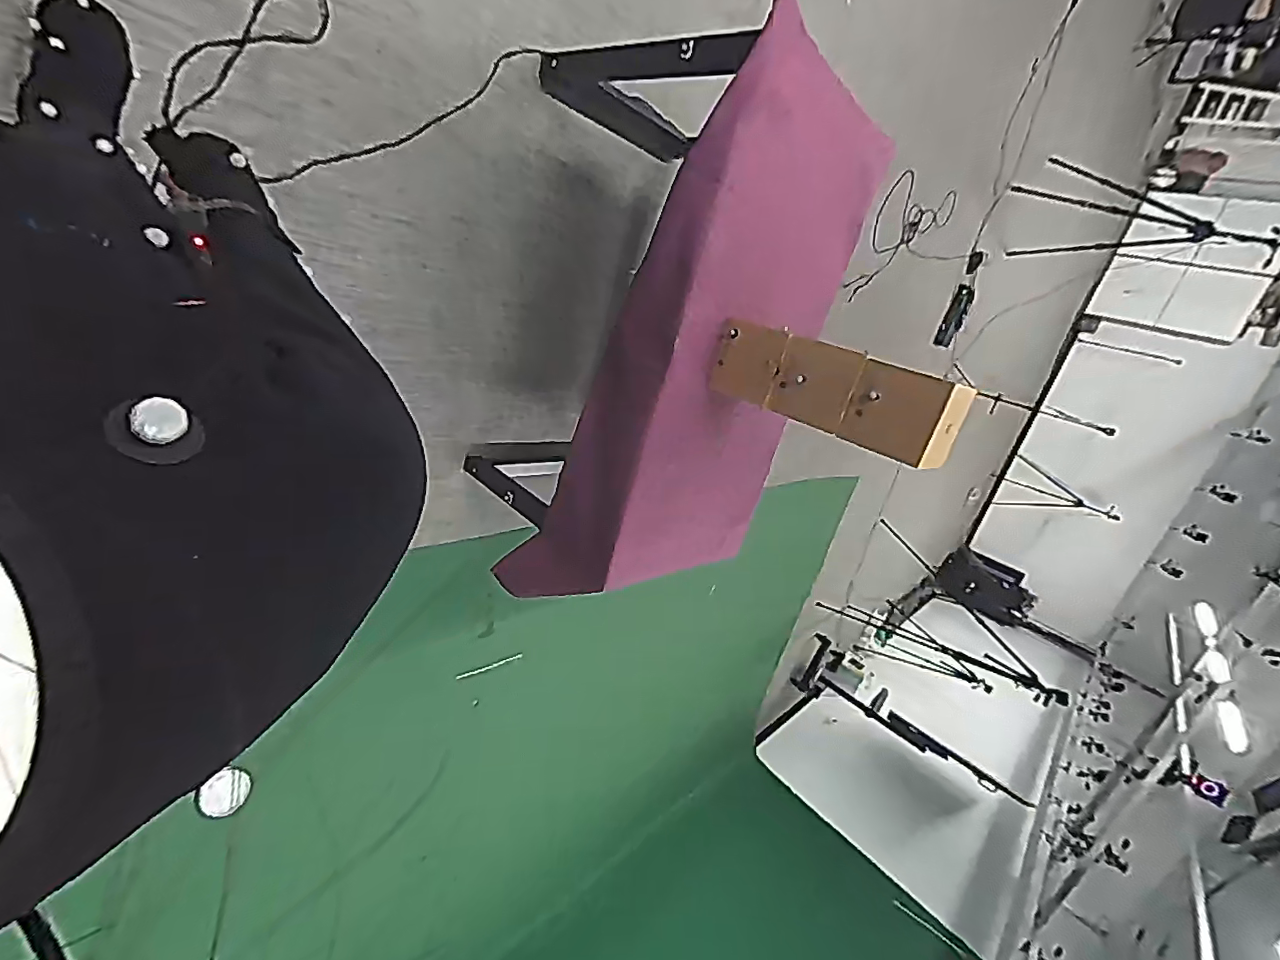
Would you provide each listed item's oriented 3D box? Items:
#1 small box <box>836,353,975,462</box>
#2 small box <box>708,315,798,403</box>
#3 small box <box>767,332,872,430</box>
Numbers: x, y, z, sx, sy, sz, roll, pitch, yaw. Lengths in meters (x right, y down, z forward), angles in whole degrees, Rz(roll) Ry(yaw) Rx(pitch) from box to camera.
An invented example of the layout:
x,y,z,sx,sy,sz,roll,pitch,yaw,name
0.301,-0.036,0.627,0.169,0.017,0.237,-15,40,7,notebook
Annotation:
x,y,z,sx,sy,sz,roll,pitch,yaw,name
0.519,-0.143,1.065,0.179,0.176,0.168,-4,116,-48,small box
0.285,-0.275,1.253,0.179,0.176,0.168,-3,117,-48,small box
0.404,-0.210,1.160,0.179,0.176,0.168,-3,116,-47,small box
